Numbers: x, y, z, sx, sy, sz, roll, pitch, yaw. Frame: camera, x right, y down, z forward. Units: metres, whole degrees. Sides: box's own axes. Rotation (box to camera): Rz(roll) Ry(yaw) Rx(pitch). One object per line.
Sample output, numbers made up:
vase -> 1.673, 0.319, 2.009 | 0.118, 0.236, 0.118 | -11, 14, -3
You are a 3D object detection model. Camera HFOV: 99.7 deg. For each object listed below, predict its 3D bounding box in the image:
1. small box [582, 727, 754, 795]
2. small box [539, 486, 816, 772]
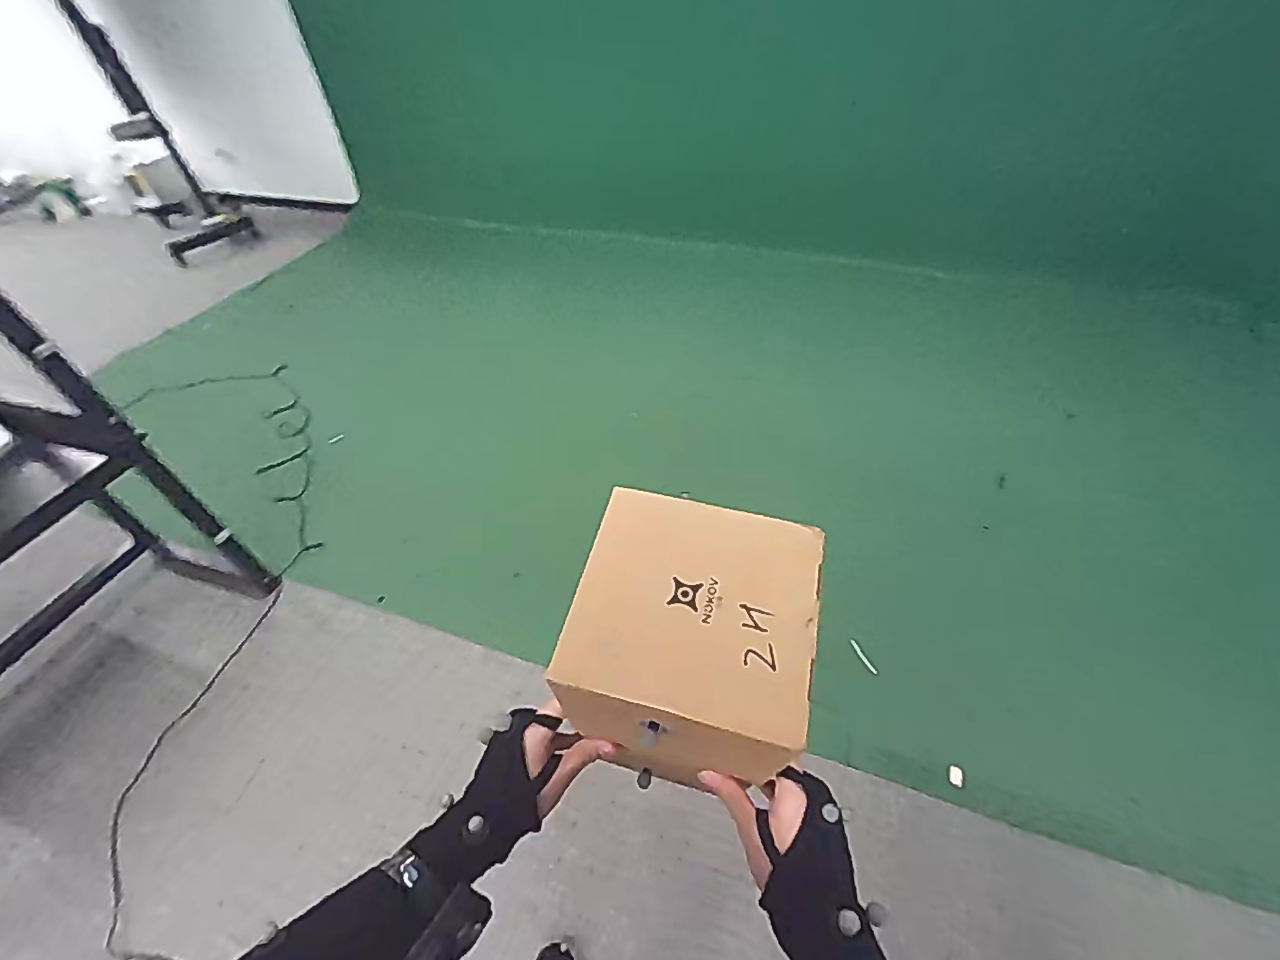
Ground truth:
small box -> 0.042, 0.224, 0.597 | 0.168, 0.176, 0.179 | 11, 56, 9
small box -> 0.036, 0.131, 0.460 | 0.179, 0.176, 0.168 | 12, 56, 10
